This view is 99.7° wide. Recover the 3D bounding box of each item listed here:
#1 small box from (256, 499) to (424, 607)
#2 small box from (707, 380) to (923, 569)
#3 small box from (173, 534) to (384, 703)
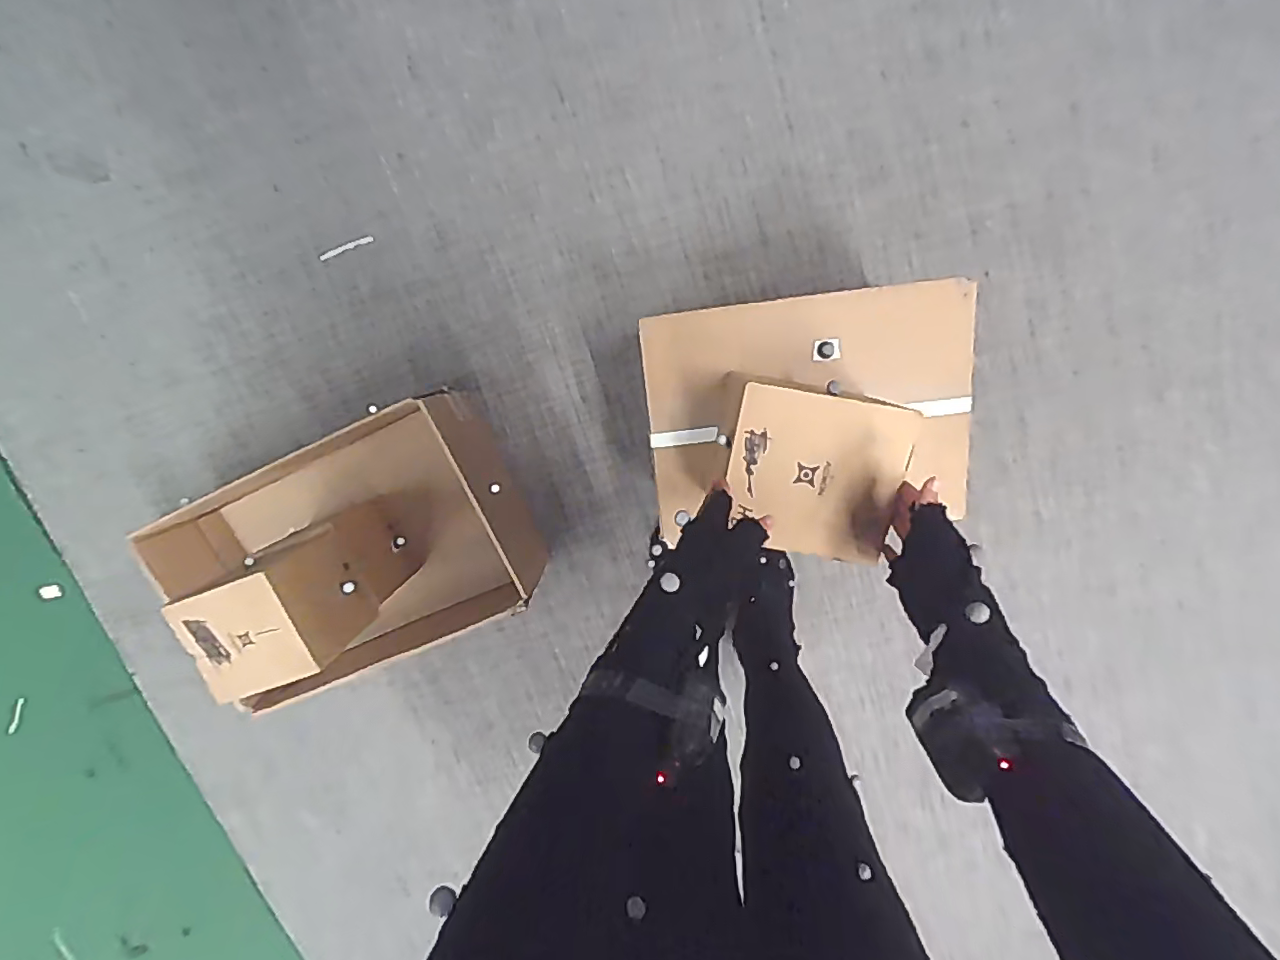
[{"bbox_3d":[-0.537,0.154,0.994,0.179,0.176,0.168,-23,102,8],"label":"small box"},{"bbox_3d":[0.182,-0.018,0.623,0.179,0.176,0.168,11,104,1],"label":"small box"},{"bbox_3d":[-0.541,0.205,0.837,0.179,0.176,0.168,-20,102,7],"label":"small box"}]
